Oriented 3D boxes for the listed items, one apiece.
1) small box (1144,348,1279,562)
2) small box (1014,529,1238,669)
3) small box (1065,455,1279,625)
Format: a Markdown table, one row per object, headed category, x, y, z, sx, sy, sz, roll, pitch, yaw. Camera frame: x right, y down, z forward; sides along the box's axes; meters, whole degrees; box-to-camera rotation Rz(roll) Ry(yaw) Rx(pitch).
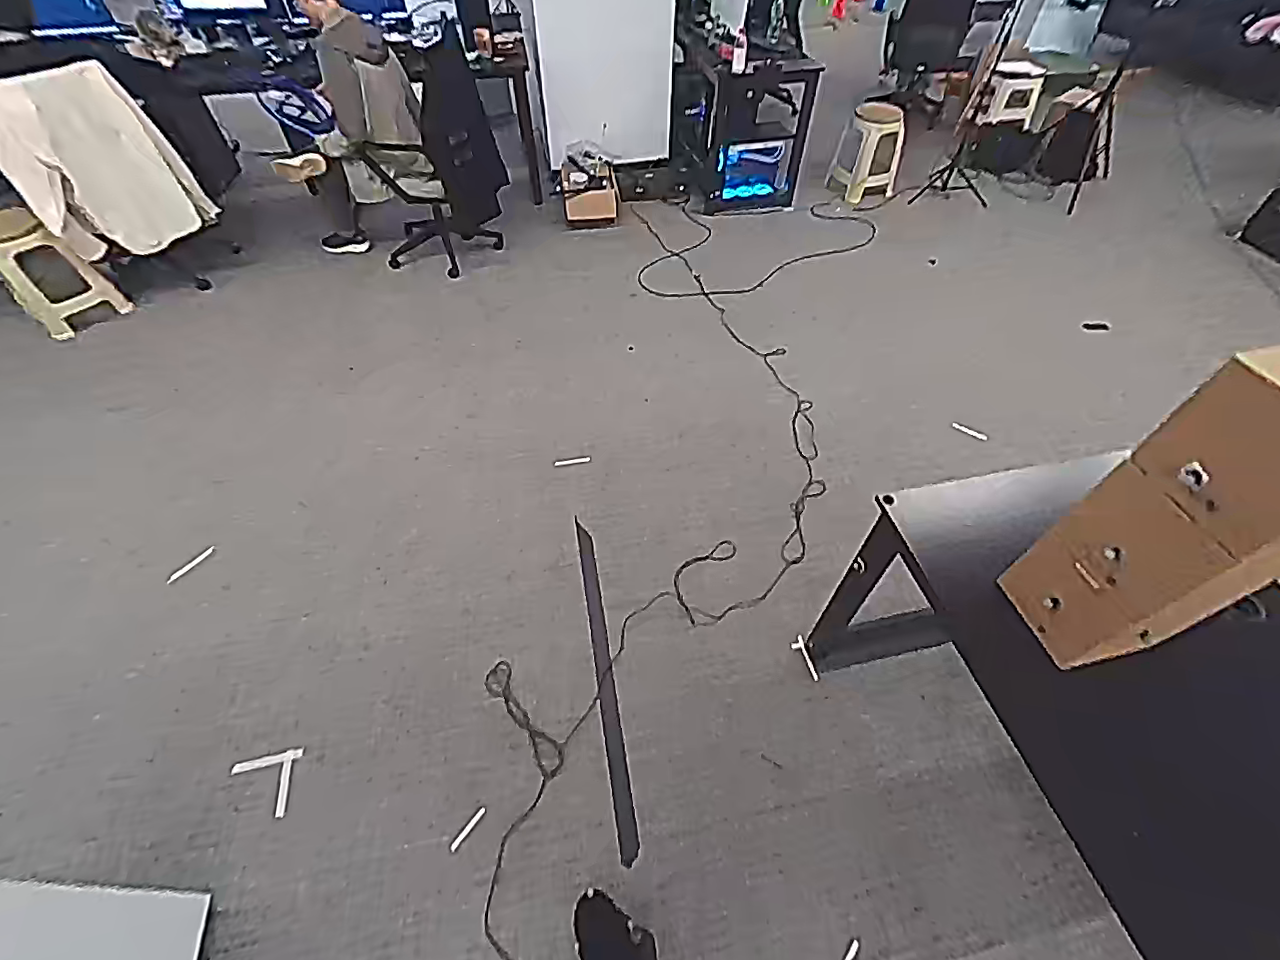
| category | x | y | z | sx | sy | sz | roll | pitch | yaw |
| --- | --- | --- | --- | --- | --- | --- | --- | --- | --- |
| small box | 0.733 | -0.032 | 0.592 | 0.179 | 0.176 | 0.168 | -11 | 50 | -8 |
| small box | 0.733 | 0.176 | 0.845 | 0.179 | 0.176 | 0.168 | -11 | 52 | -8 |
| small box | 0.734 | 0.071 | 0.718 | 0.179 | 0.176 | 0.168 | -10 | 51 | -8 |
